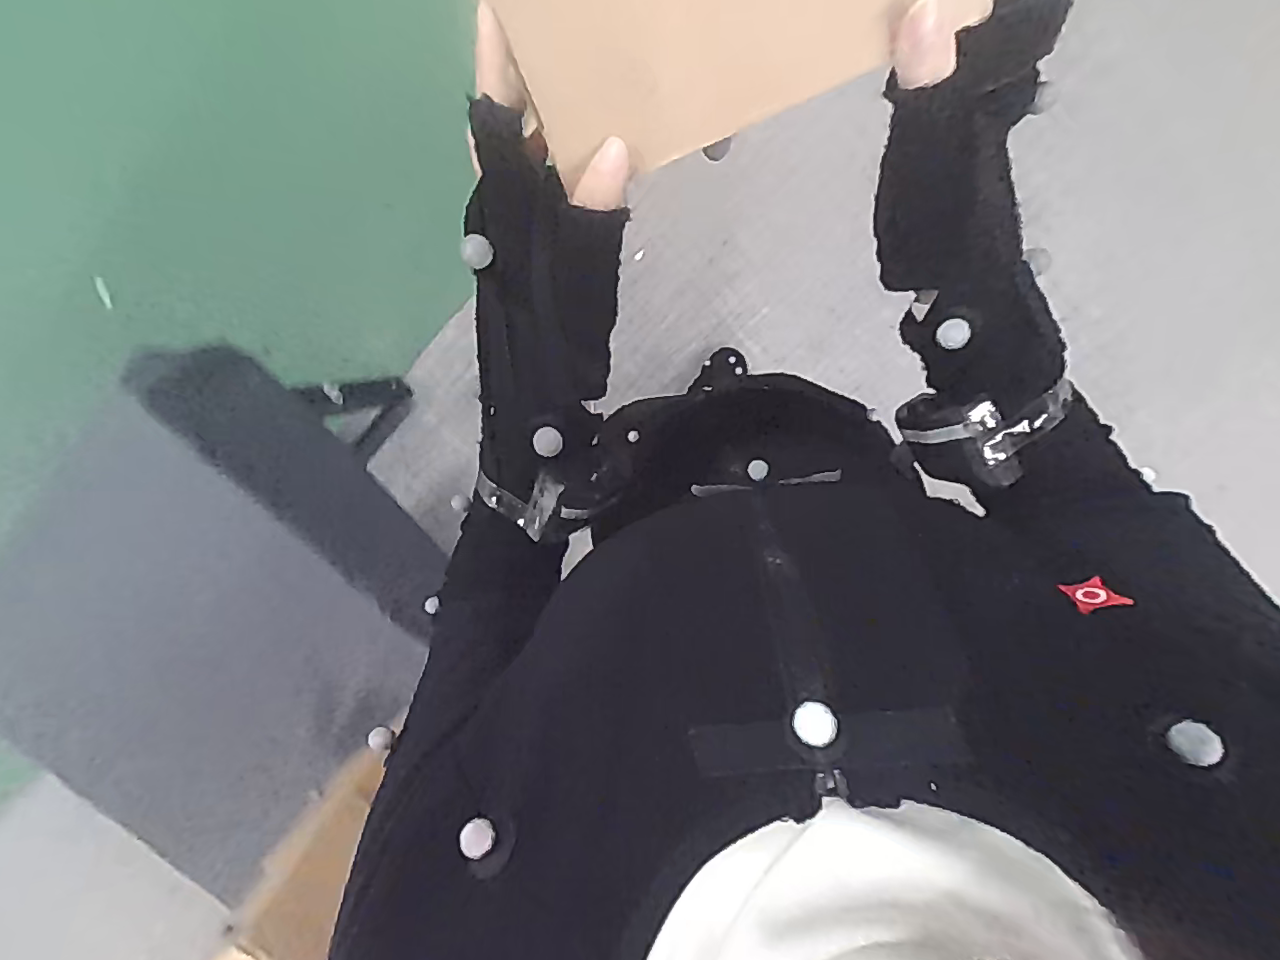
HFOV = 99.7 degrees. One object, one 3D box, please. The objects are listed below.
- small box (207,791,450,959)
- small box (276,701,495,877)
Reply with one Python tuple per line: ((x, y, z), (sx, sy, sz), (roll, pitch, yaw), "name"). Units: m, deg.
((-0.329, 0.480, 0.573), (0.168, 0.176, 0.179), (41, 104, -6), "small box")
((-0.328, 0.447, 0.734), (0.179, 0.176, 0.168), (-44, 97, 11), "small box")
